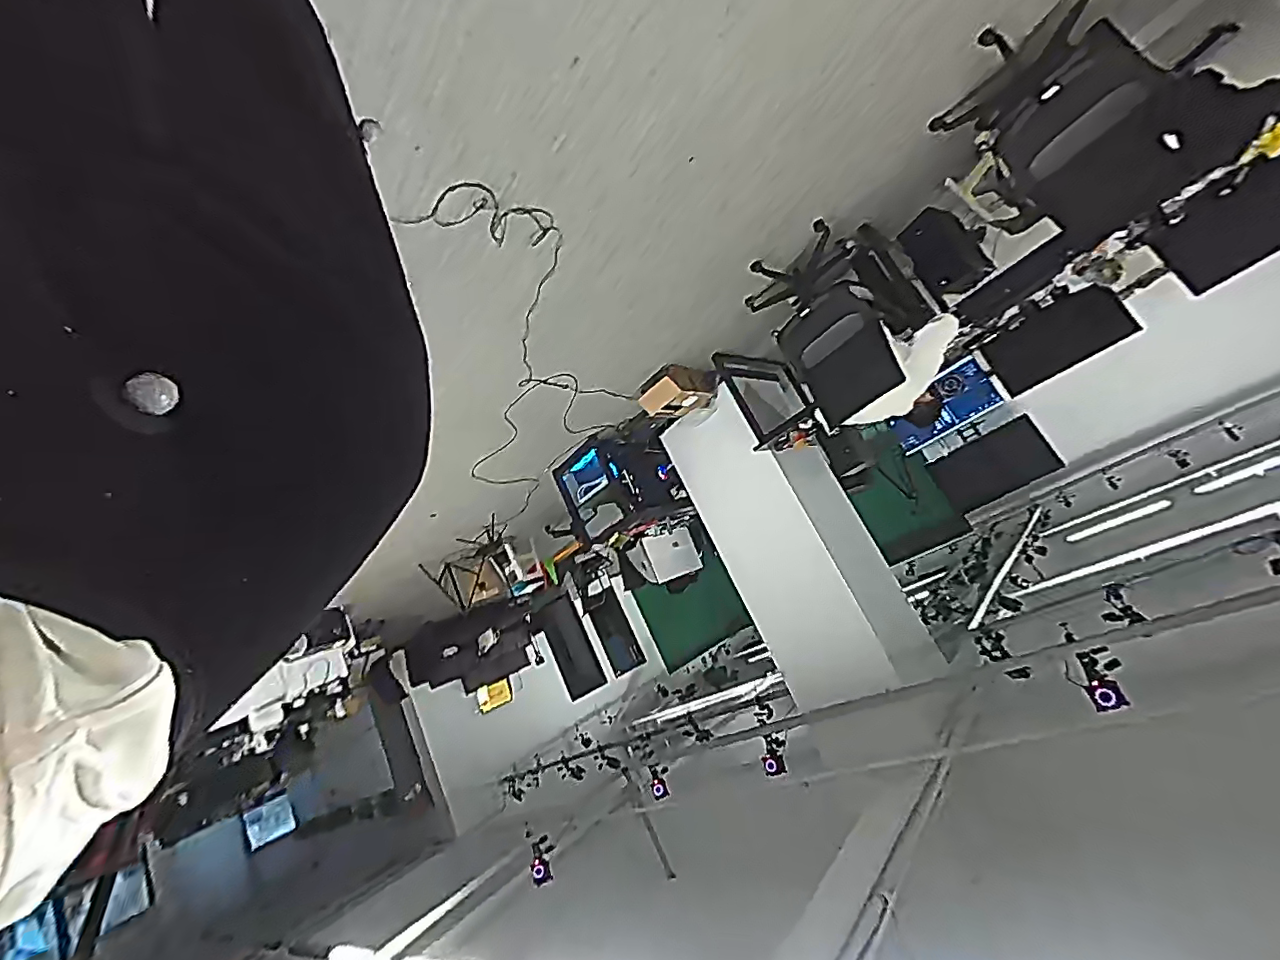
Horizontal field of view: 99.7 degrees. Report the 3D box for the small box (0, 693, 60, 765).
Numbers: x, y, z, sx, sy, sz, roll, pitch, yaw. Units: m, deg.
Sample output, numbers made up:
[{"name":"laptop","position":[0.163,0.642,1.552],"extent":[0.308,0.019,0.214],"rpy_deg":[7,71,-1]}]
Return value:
[{"name":"small box","position":[-2.082,0.836,1.813],"extent":[0.179,0.176,0.168],"rpy_deg":[-37,162,34]}]
